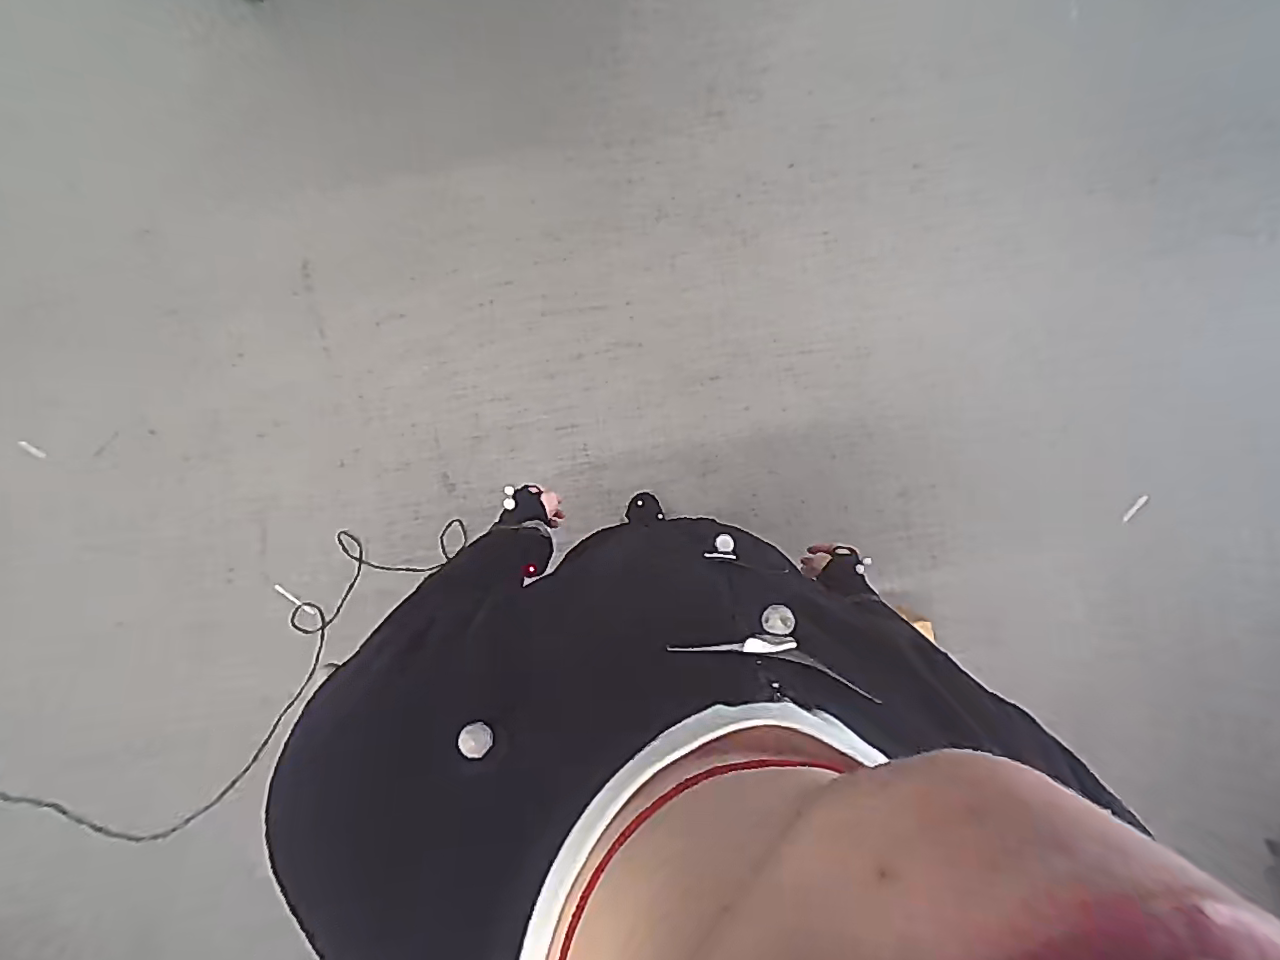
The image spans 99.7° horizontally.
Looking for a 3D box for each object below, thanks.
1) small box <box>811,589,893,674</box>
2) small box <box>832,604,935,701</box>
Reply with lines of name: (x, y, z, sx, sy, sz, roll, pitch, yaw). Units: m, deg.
small box: (0.581, 0.408, 1.476, 0.168, 0.176, 0.179, -7, 90, 0)
small box: (0.581, 0.408, 1.313, 0.168, 0.176, 0.179, -9, 91, 1)
